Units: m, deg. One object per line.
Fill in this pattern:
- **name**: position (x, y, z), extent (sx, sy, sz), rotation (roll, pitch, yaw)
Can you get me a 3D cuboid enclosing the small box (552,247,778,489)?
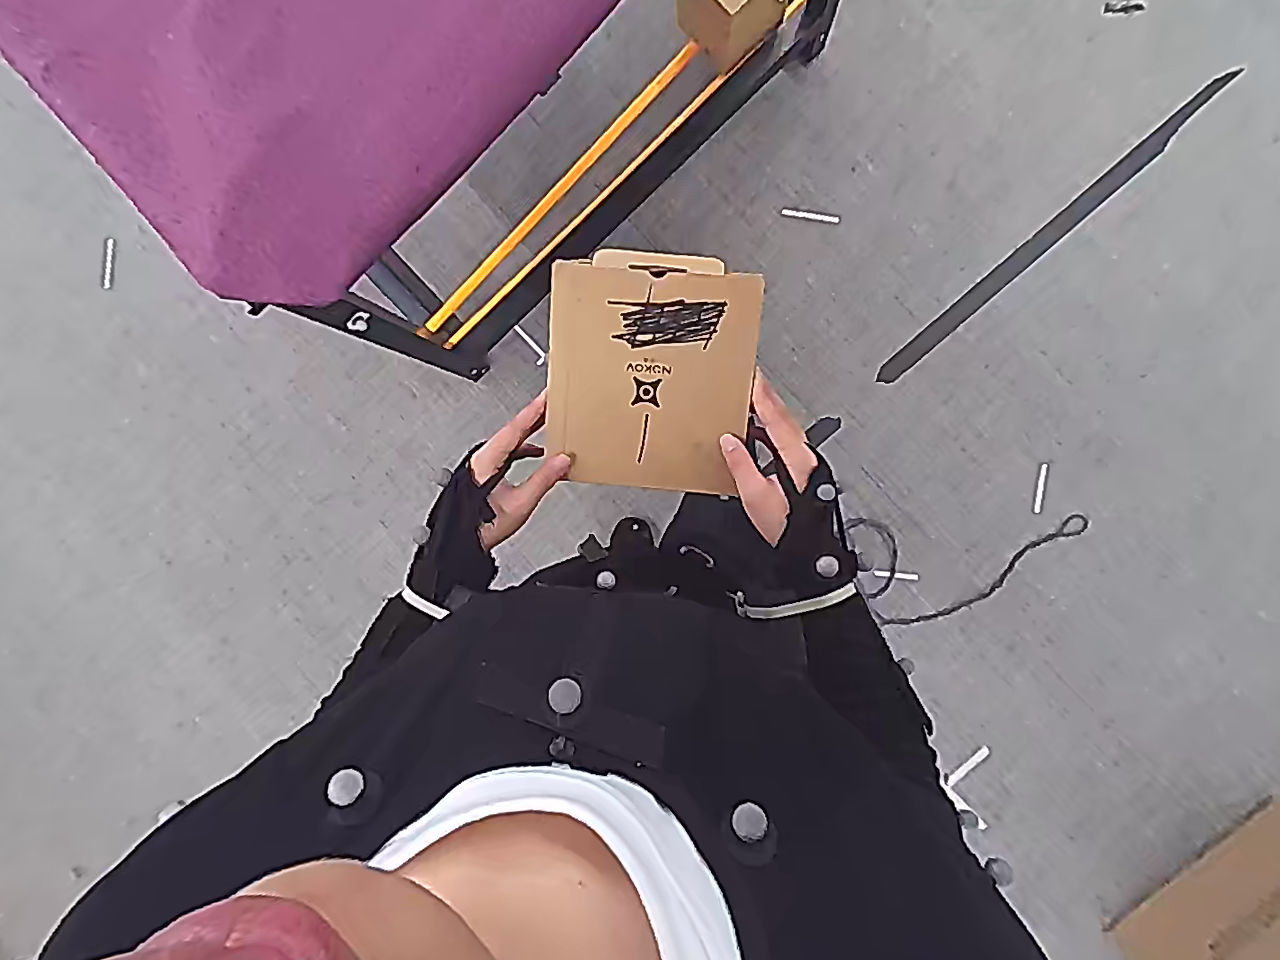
- **small box**: position (0.020, -0.097, 0.503), extent (0.168, 0.176, 0.179), rotation (5, 99, 2)
